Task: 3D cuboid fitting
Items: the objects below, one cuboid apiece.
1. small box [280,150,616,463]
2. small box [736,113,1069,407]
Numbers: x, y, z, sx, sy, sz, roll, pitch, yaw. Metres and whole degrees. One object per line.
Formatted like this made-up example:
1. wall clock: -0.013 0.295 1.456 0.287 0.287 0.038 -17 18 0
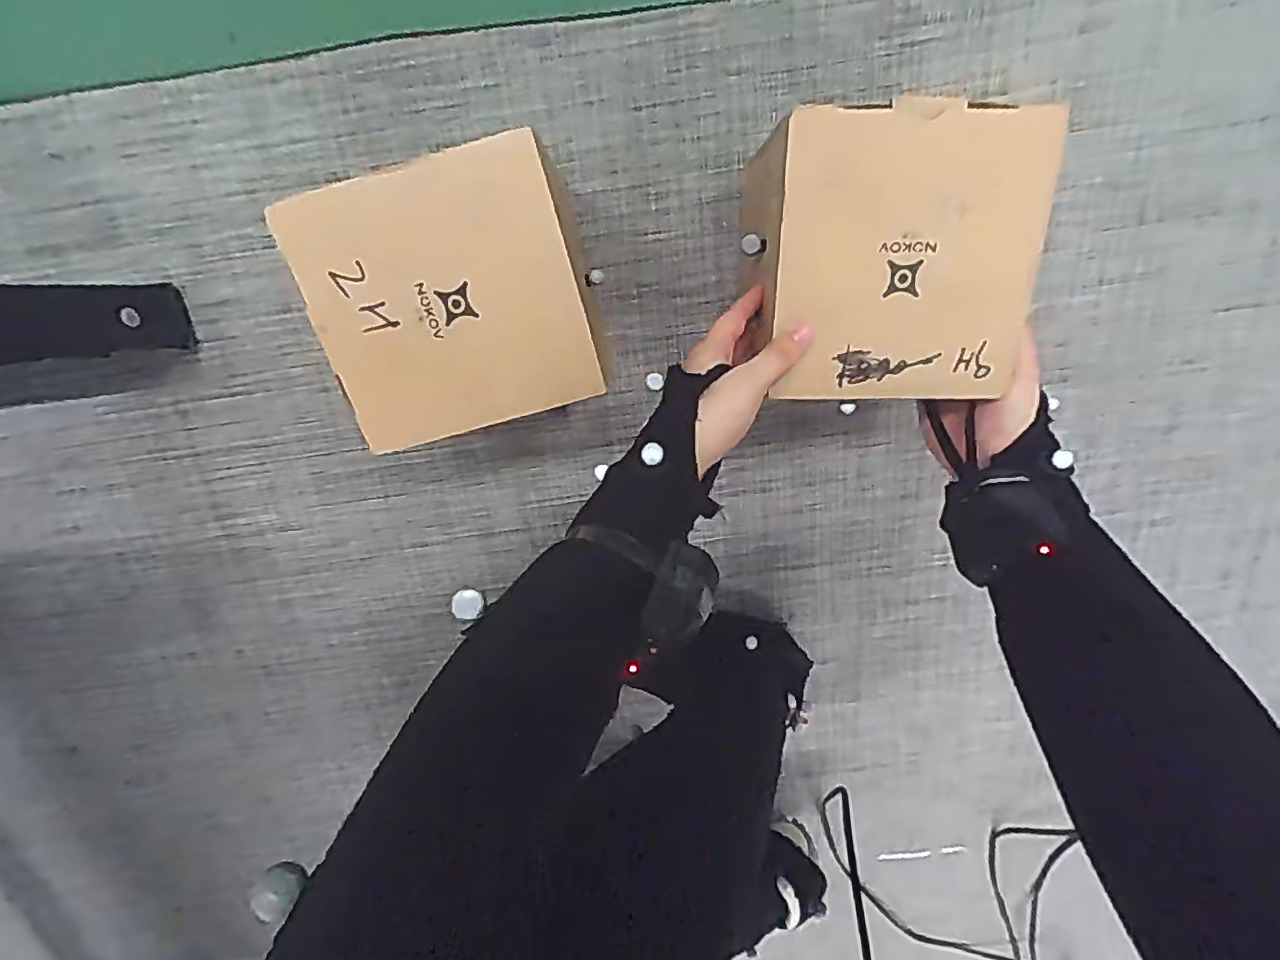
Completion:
1. small box: -0.123 -0.132 0.429 0.179 0.176 0.168 -14 108 4
2. small box: 0.173 -0.157 0.421 0.168 0.176 0.179 0 108 0
